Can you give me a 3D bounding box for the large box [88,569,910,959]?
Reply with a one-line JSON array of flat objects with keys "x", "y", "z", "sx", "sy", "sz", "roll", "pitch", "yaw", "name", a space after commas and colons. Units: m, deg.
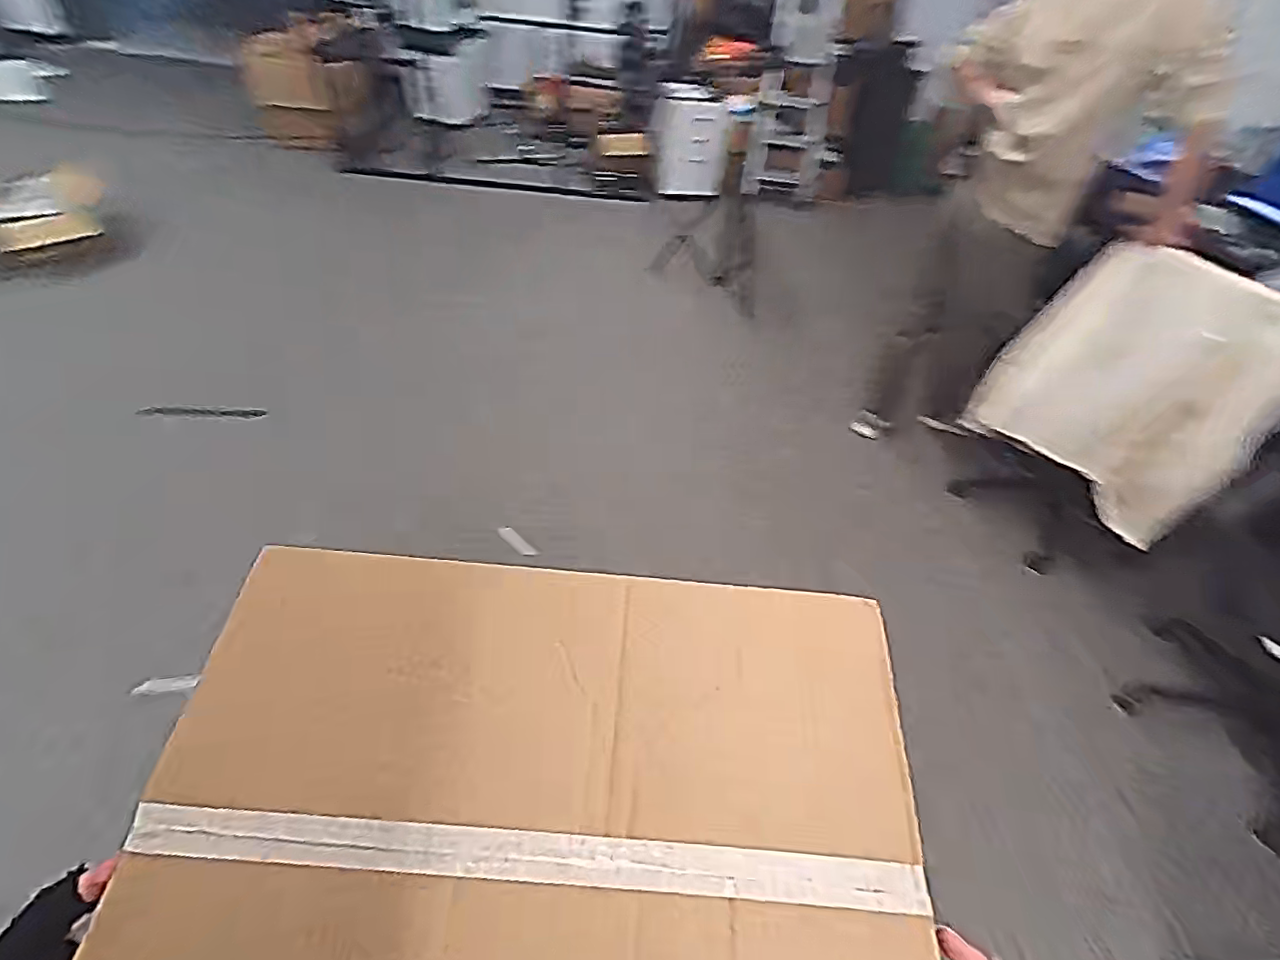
[{"x": -0.069, "y": 0.277, "z": 0.412, "sx": 0.408, "sy": 0.320, "sz": 0.320, "roll": 4, "pitch": 59, "yaw": -1, "name": "large box"}]
